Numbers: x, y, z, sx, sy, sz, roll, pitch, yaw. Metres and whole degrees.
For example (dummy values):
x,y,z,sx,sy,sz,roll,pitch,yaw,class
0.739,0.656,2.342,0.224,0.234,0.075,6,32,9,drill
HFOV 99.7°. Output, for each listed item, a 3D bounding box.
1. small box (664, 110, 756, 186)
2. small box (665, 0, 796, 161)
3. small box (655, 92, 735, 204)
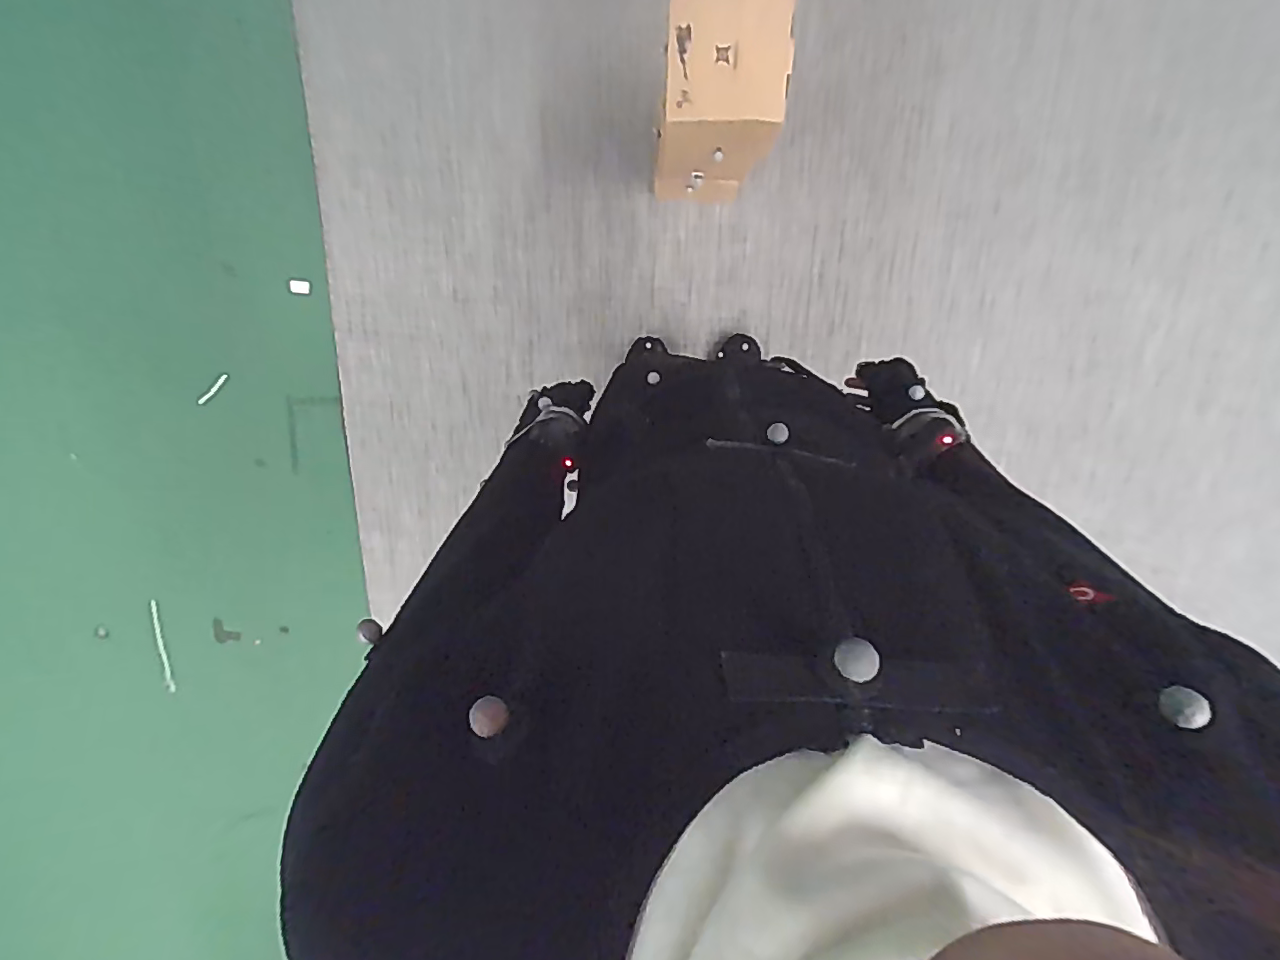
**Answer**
x,y,z,sx,sy,sz,roll,pitch,yaw,class
0.131,-0.669,1.011,0.168,0.176,0.179,3,106,3,small box
0.132,-0.621,0.854,0.179,0.176,0.168,3,105,3,small box
0.125,-0.708,1.168,0.179,0.176,0.168,4,106,1,small box
